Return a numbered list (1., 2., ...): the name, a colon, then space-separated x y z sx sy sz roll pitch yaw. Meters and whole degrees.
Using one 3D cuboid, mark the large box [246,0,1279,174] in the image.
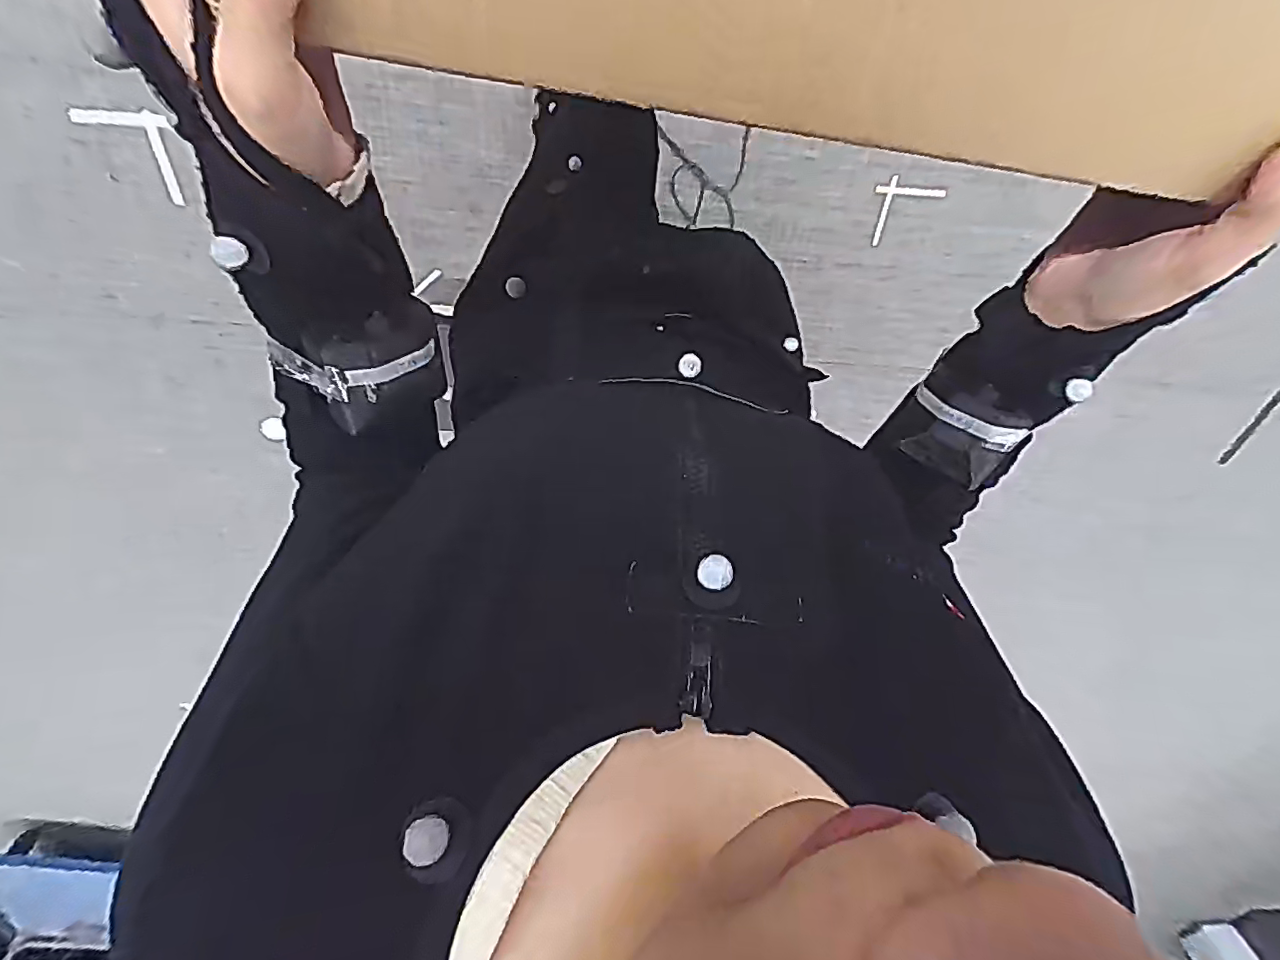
1. large box: 0.083 -0.347 0.177 0.408 0.320 0.320 4 141 -8
